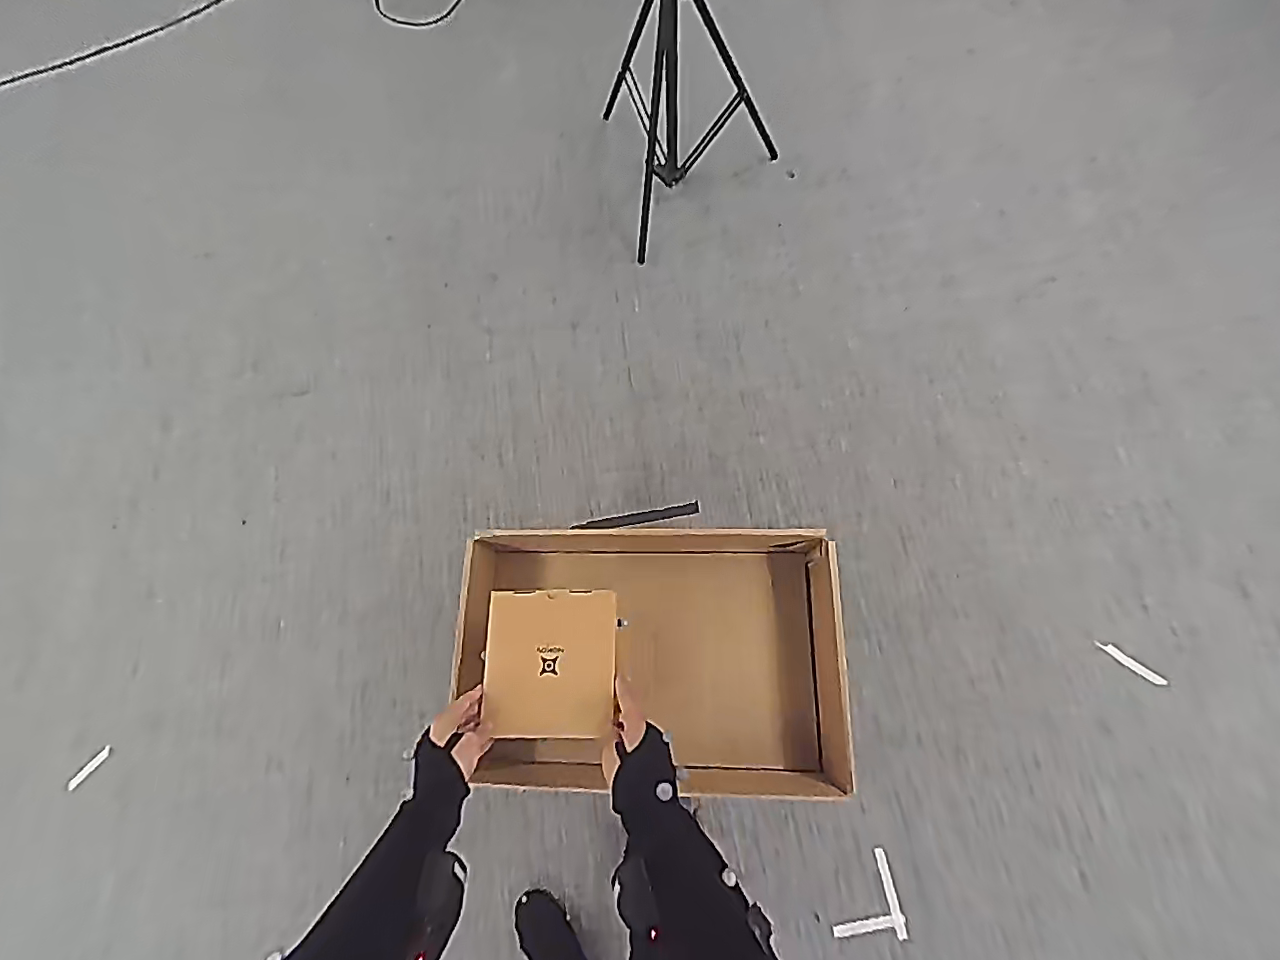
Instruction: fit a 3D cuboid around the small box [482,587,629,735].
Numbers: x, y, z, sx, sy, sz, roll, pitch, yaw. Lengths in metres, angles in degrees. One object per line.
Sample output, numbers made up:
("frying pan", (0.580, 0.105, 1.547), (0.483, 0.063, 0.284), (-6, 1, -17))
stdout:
("small box", (-0.105, 0.246, 0.749), (0.168, 0.176, 0.179), (-2, 72, 4))
